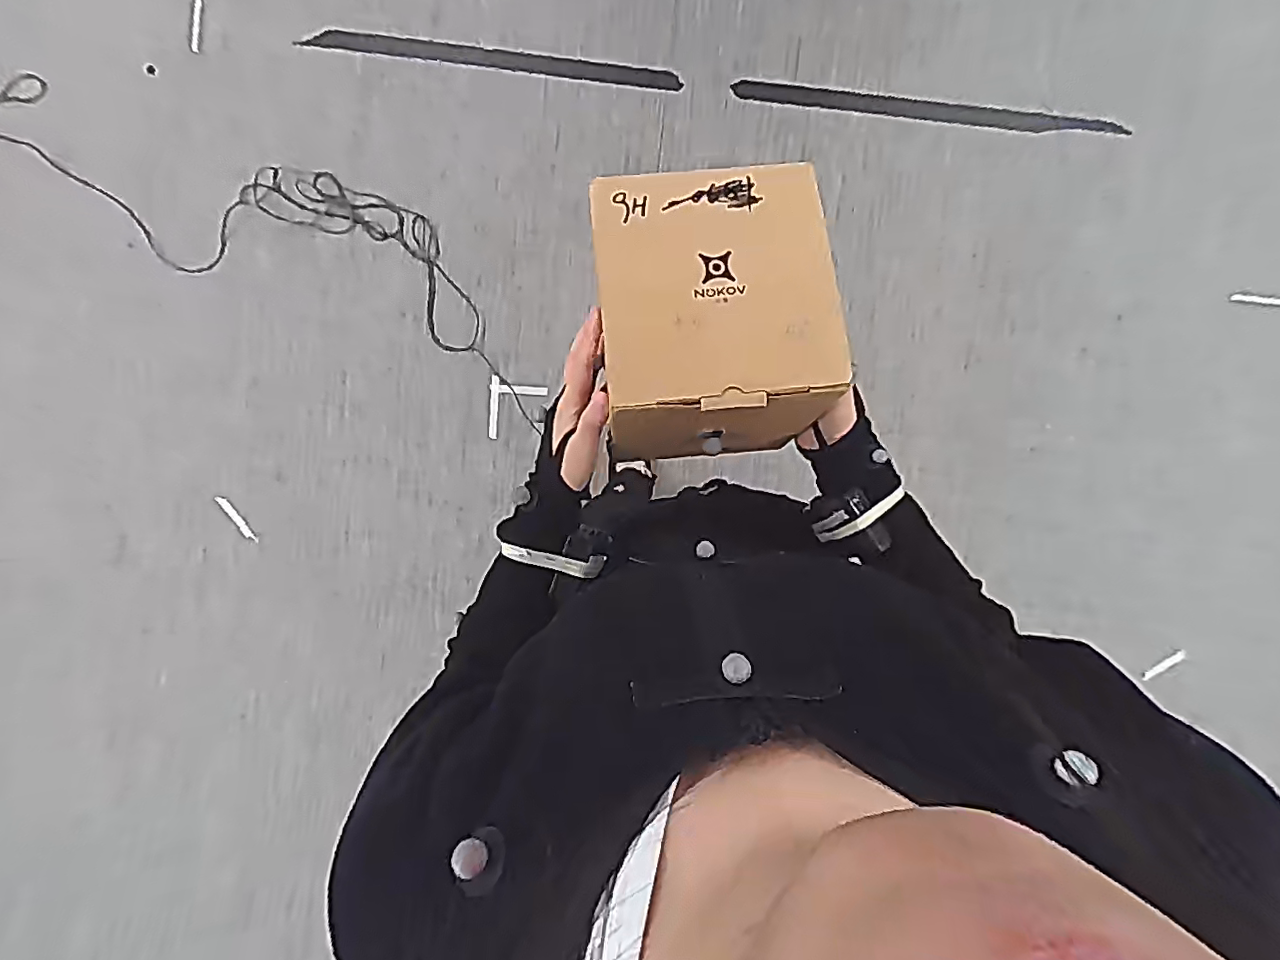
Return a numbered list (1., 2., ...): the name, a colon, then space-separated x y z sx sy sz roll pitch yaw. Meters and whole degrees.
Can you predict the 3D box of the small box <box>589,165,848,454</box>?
1. small box: 0.051 -0.122 0.452 0.168 0.176 0.179 -5 80 -3
